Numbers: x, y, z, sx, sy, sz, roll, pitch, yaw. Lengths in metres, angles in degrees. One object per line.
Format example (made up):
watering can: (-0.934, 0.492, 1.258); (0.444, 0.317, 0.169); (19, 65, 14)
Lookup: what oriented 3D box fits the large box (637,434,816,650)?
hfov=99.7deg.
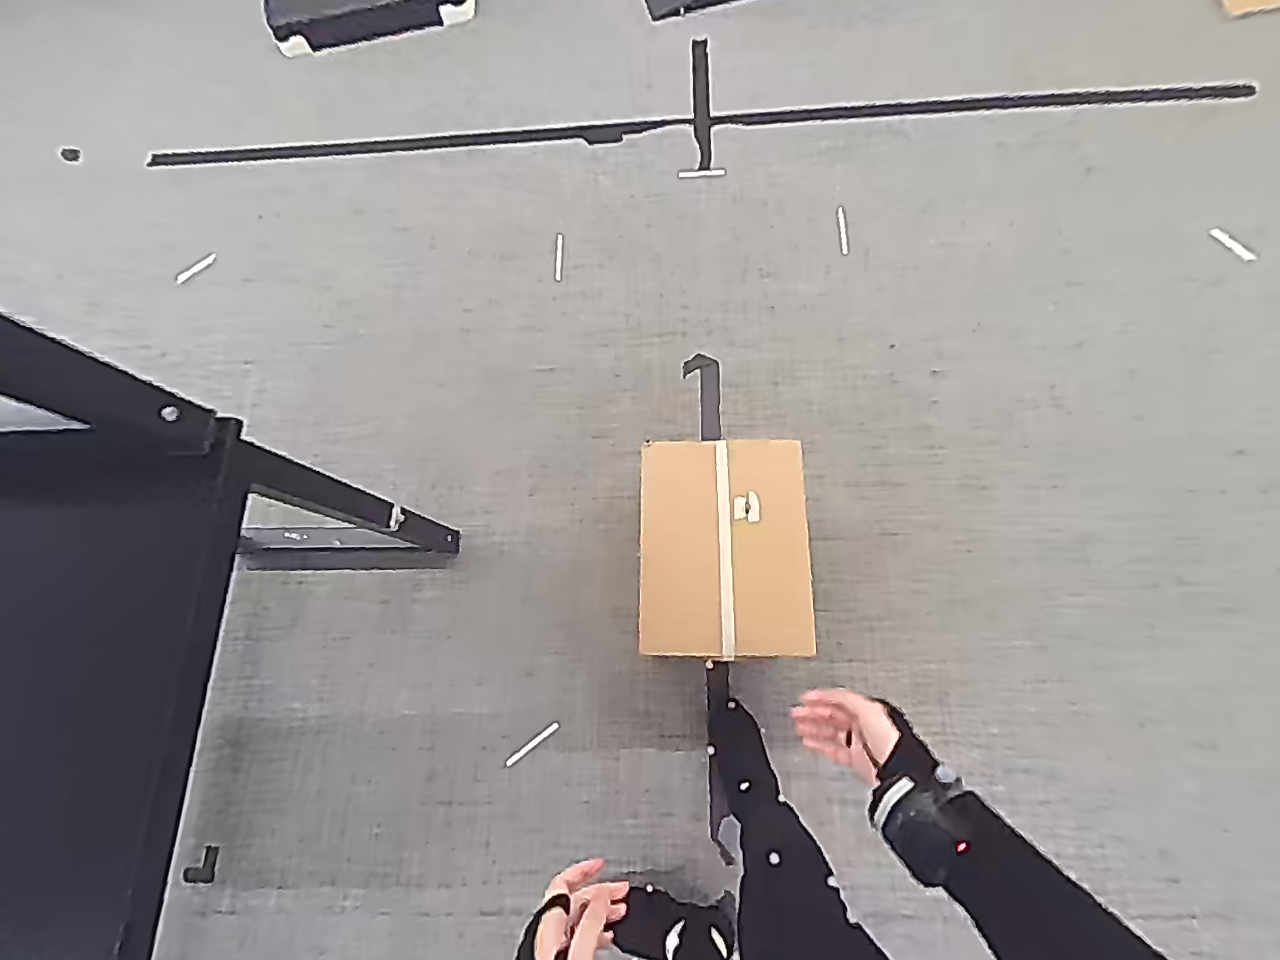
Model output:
large box: (0.161, 0.146, 1.142); (0.320, 0.320, 0.408); (0, 74, 3)
